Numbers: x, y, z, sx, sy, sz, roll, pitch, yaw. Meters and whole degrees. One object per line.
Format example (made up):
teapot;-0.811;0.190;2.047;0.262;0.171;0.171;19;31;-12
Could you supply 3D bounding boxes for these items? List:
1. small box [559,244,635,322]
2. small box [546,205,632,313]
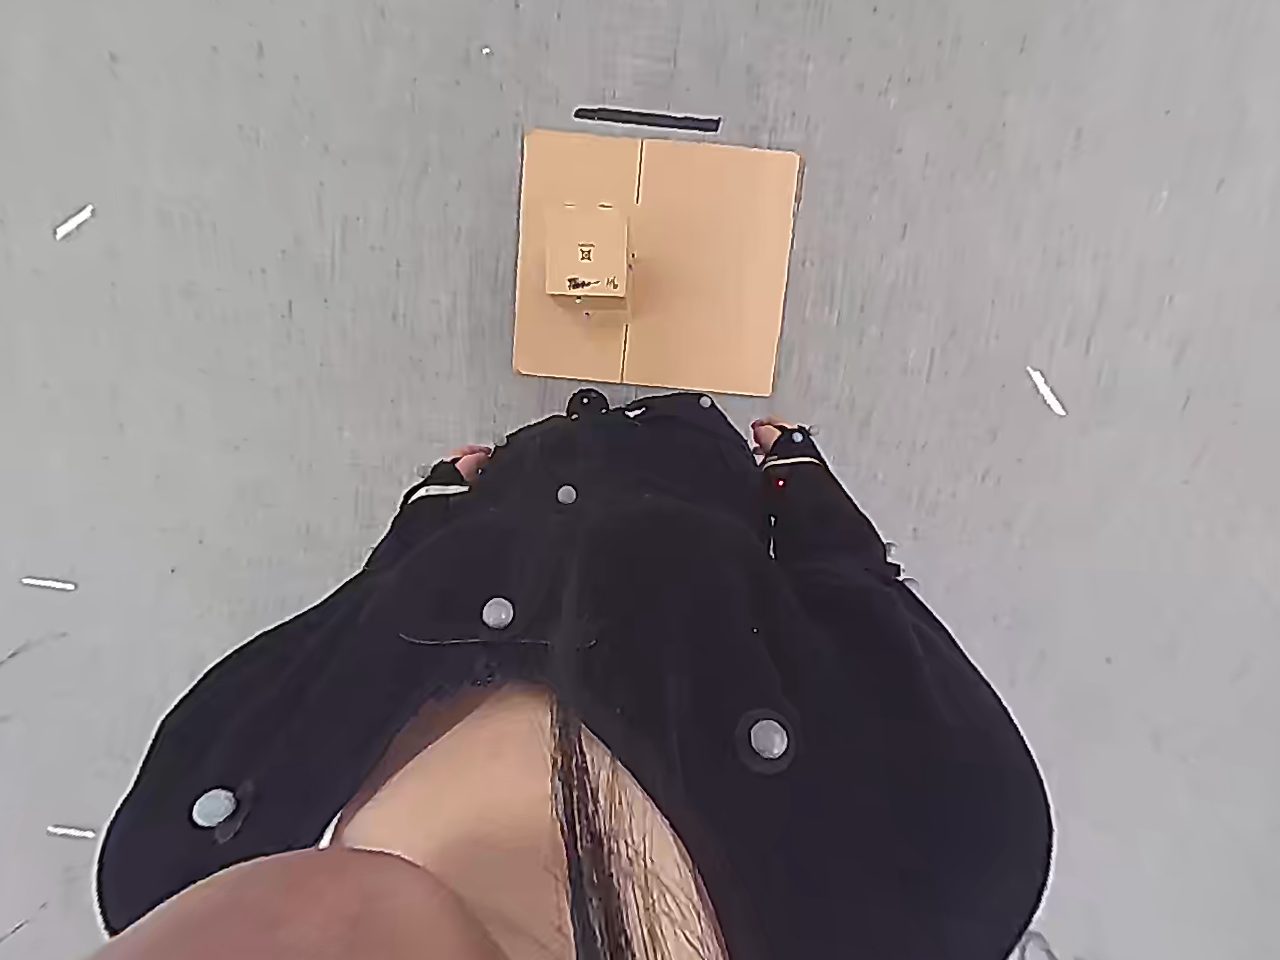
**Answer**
small box;-0.101;-0.489;1.326;0.168;0.176;0.179;4;98;0
small box;-0.104;-0.468;1.163;0.168;0.176;0.179;3;98;1
